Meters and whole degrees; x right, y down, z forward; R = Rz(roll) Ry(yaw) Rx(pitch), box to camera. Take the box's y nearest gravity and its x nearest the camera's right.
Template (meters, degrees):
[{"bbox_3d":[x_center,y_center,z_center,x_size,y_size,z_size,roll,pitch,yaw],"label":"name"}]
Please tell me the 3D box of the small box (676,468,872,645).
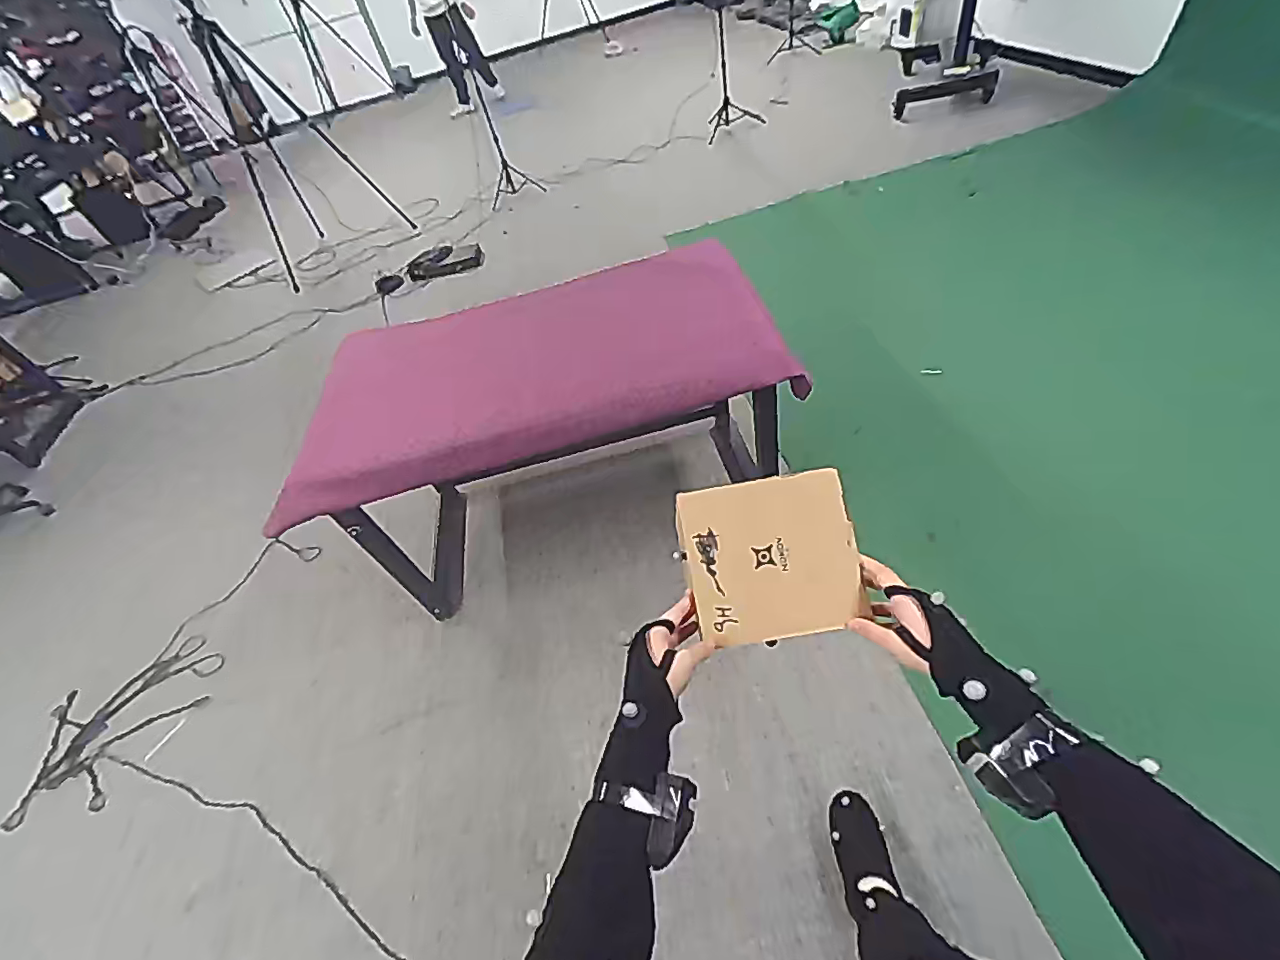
[{"bbox_3d":[0.141,0.094,0.638,0.179,0.176,0.168,-9,76,2],"label":"small box"}]
